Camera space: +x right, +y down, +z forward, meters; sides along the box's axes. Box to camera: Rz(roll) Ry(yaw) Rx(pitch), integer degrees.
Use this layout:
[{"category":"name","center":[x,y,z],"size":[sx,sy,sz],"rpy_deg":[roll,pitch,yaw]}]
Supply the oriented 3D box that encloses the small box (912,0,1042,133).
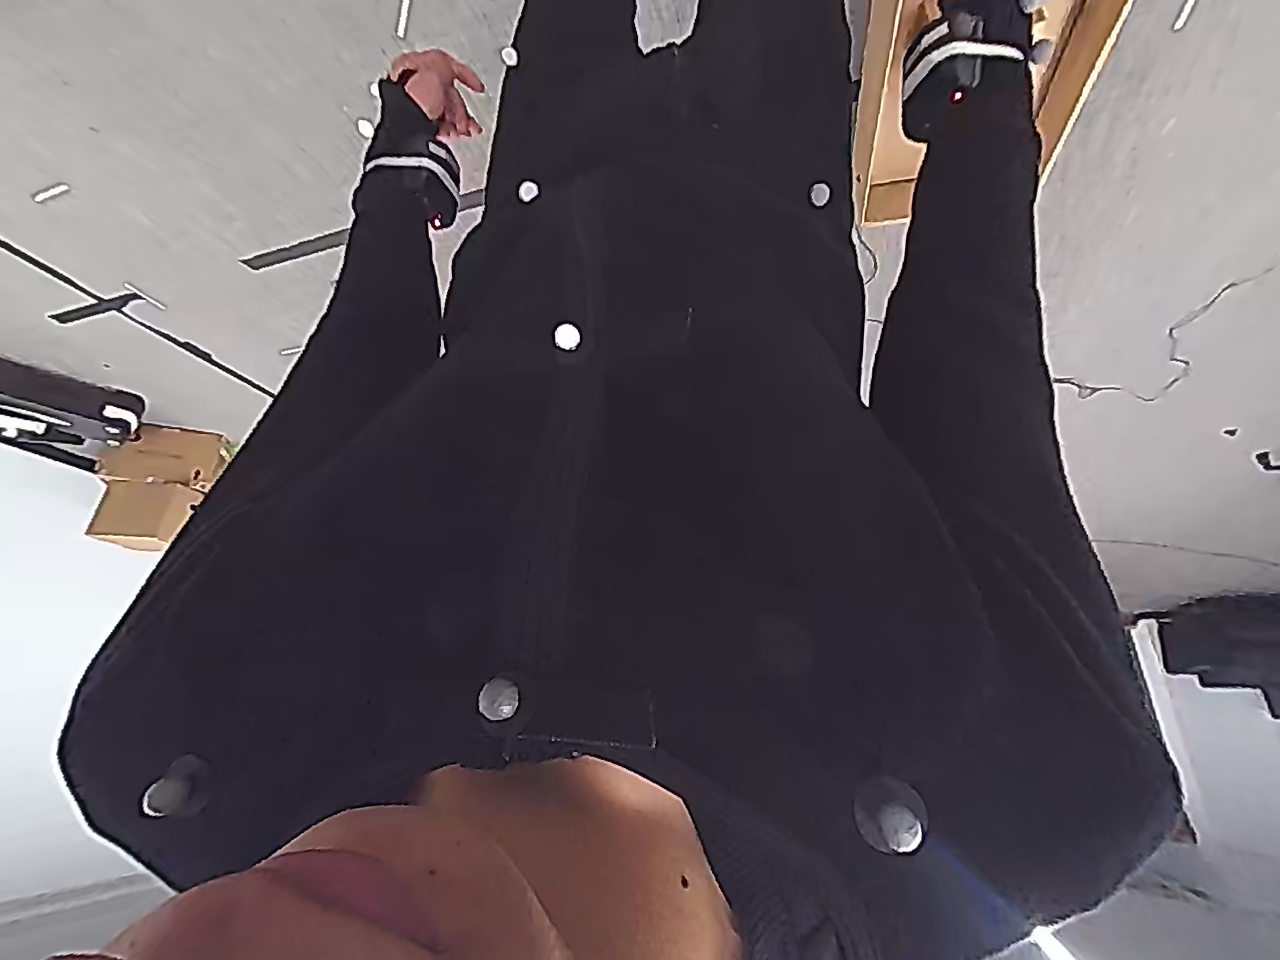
[{"category":"small box","center":[0.656,-0.846,1.079],"size":[0.179,0.176,0.168],"rpy_deg":[-5,157,18]}]
